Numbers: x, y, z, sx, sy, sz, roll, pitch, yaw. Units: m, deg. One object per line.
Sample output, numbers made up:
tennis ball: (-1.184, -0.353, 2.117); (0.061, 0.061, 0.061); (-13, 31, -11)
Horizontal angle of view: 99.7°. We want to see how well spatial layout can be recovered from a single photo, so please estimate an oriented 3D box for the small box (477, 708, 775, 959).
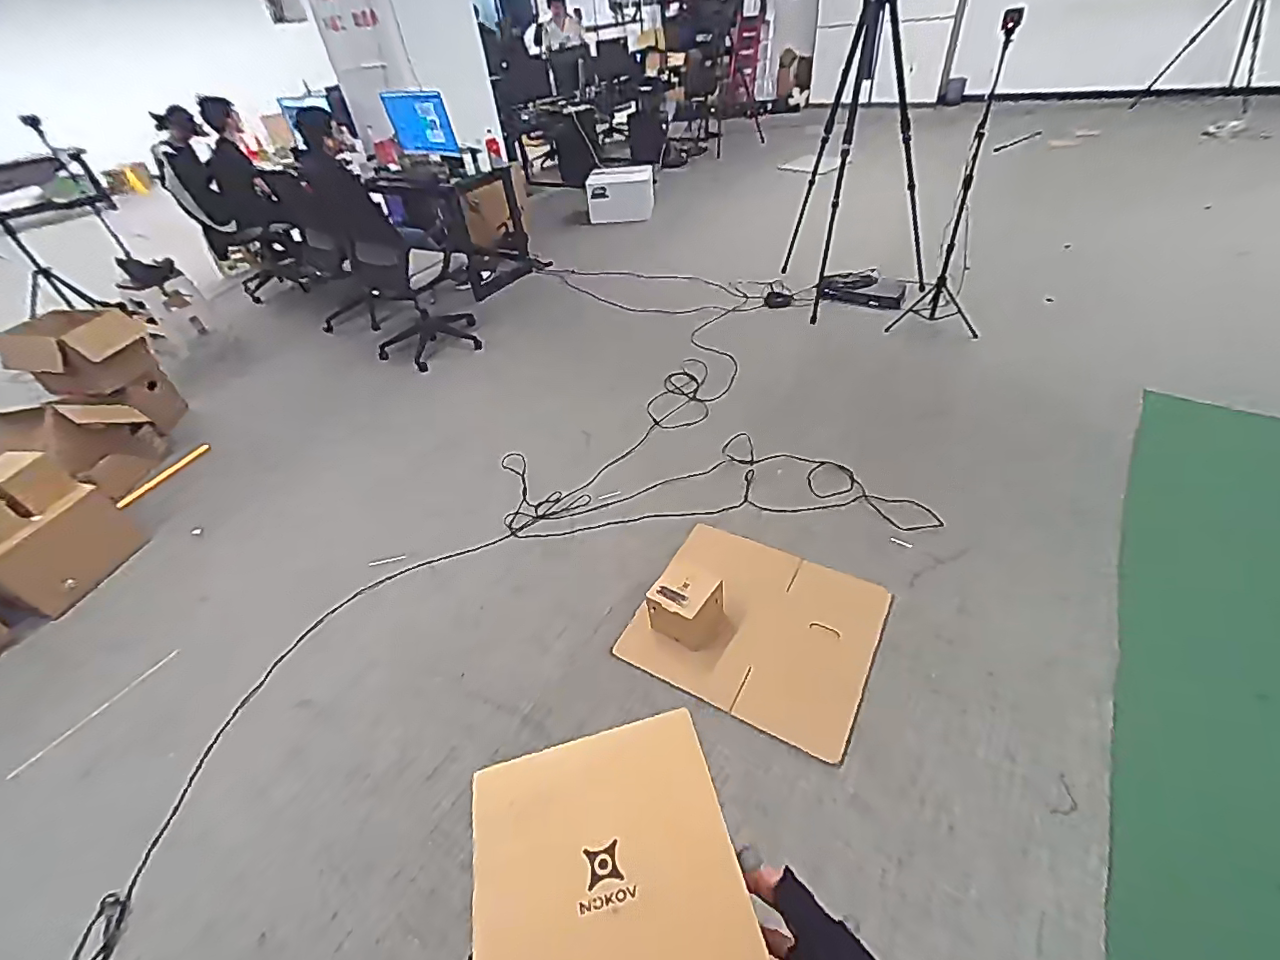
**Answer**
small box: (-0.011, 0.304, 0.388); (0.168, 0.176, 0.179); (-15, 41, -6)
